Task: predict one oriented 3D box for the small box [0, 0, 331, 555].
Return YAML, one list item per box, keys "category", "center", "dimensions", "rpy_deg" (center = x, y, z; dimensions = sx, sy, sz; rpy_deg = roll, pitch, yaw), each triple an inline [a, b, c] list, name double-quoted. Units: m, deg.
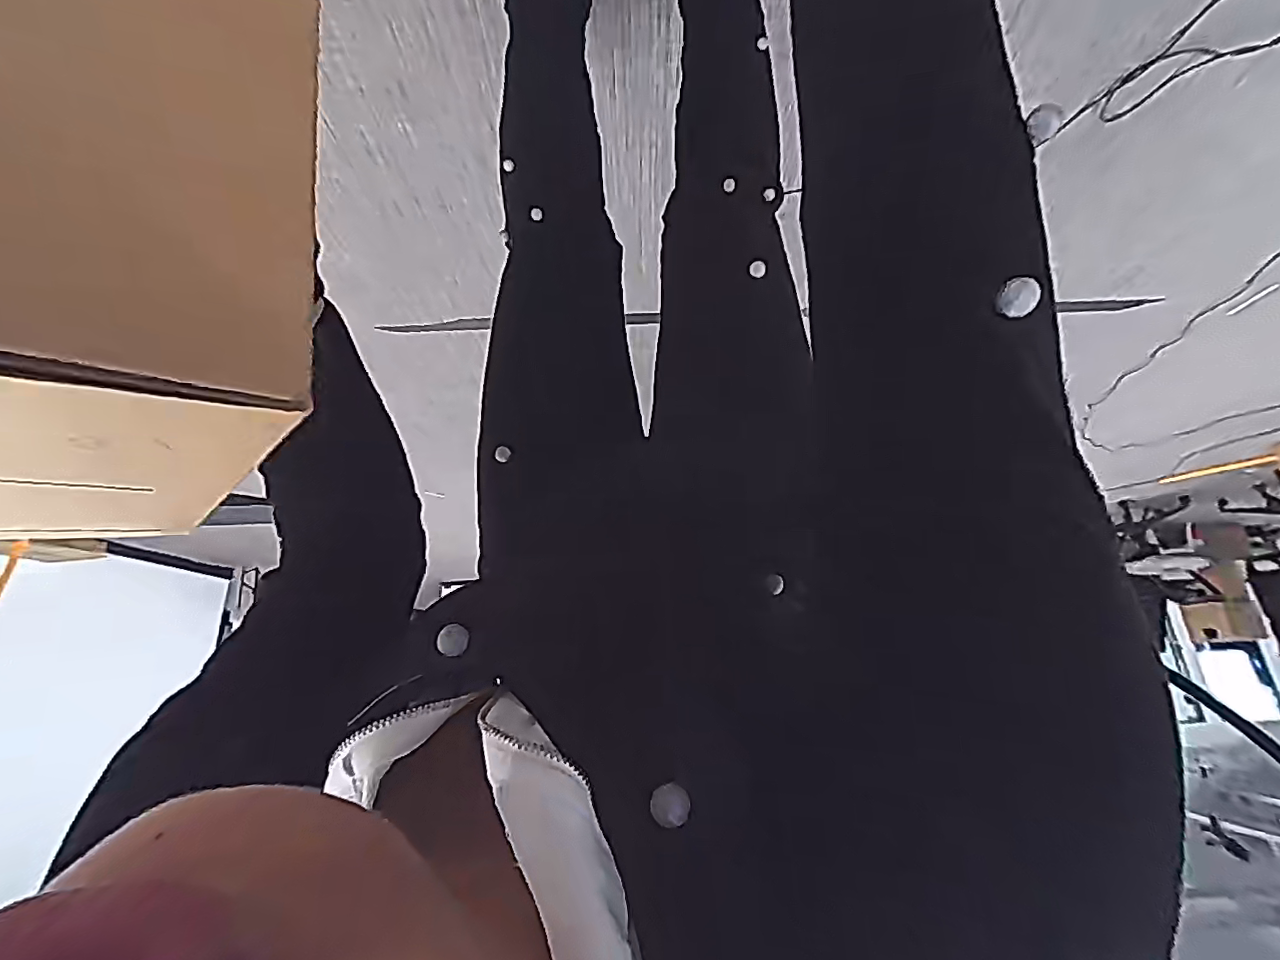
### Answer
- category: "small box"
  center: [-0.206, -0.080, 0.141]
  dimensions: [0.168, 0.176, 0.179]
  rpy_deg: [-20, 162, 38]
